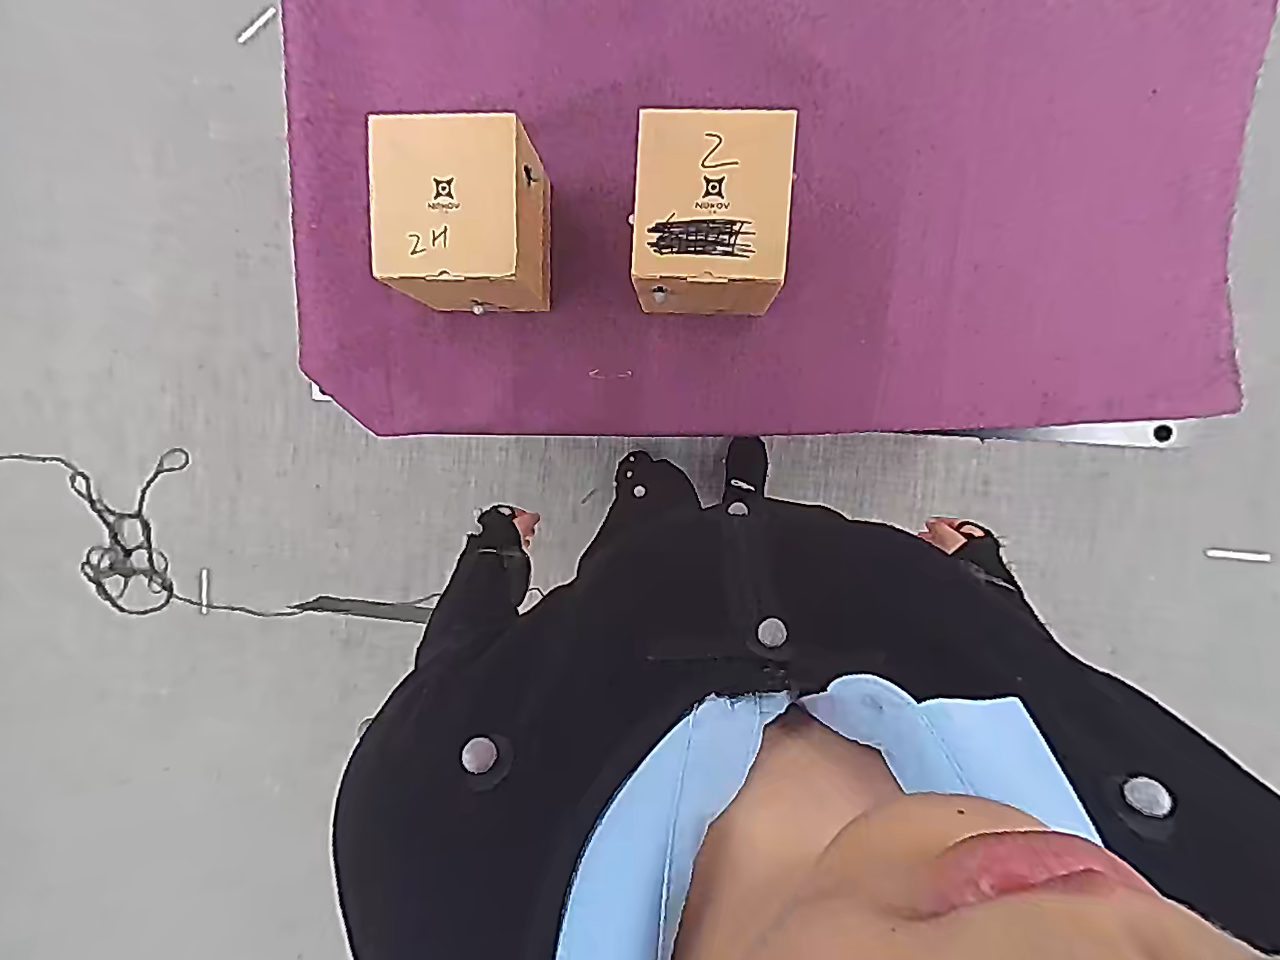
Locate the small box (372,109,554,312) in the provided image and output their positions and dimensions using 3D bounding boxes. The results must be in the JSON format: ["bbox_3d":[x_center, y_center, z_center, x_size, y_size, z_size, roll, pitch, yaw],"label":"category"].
[{"bbox_3d":[-0.204,-0.315,0.663,0.168,0.176,0.179,1,96,4],"label":"small box"}]
